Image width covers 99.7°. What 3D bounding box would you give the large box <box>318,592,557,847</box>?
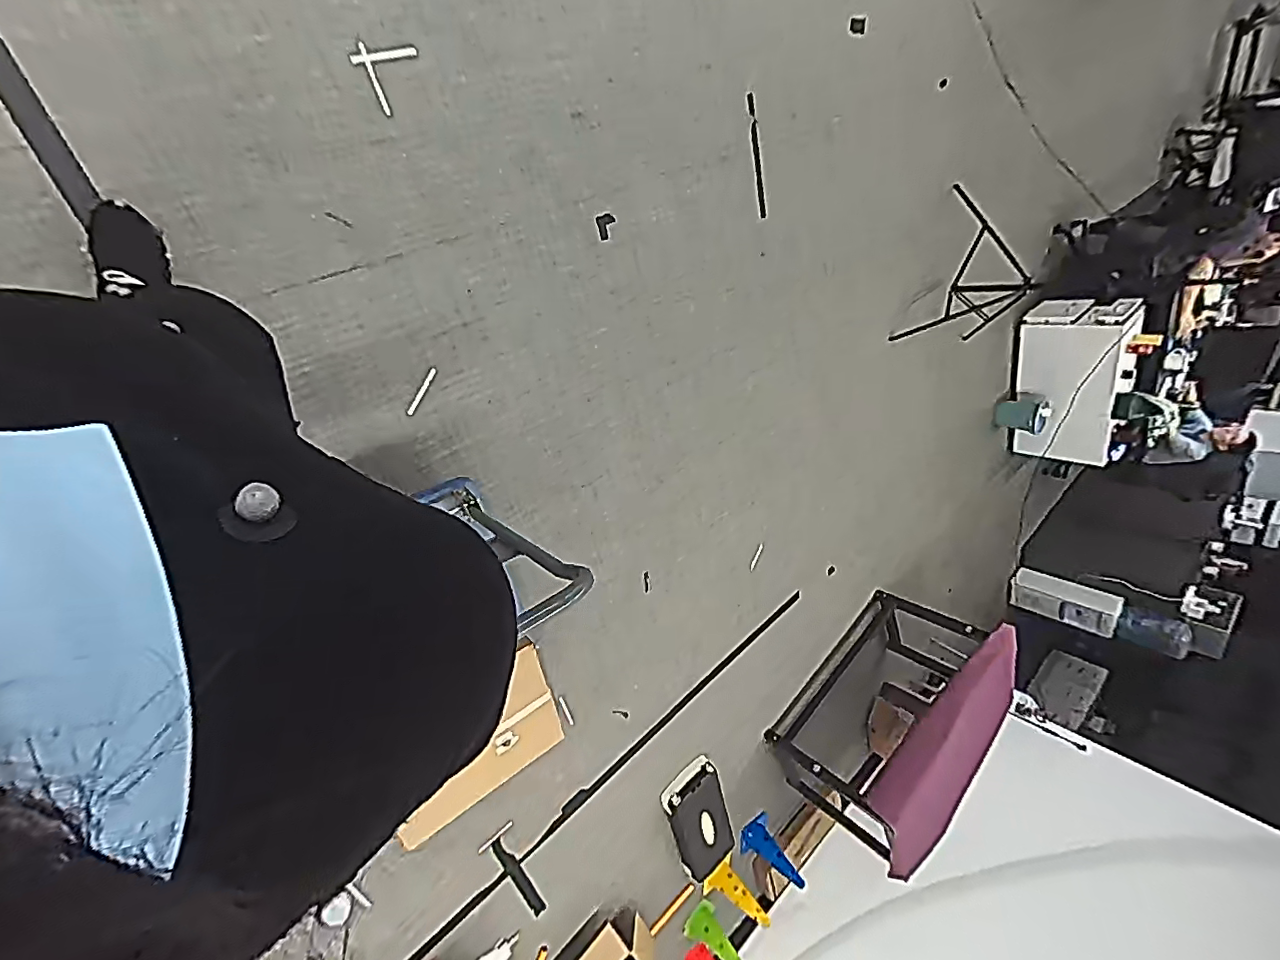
[{"bbox_3d":[-0.475,0.536,1.295,0.408,0.320,0.320,-27,119,-32],"label":"large box"}]
